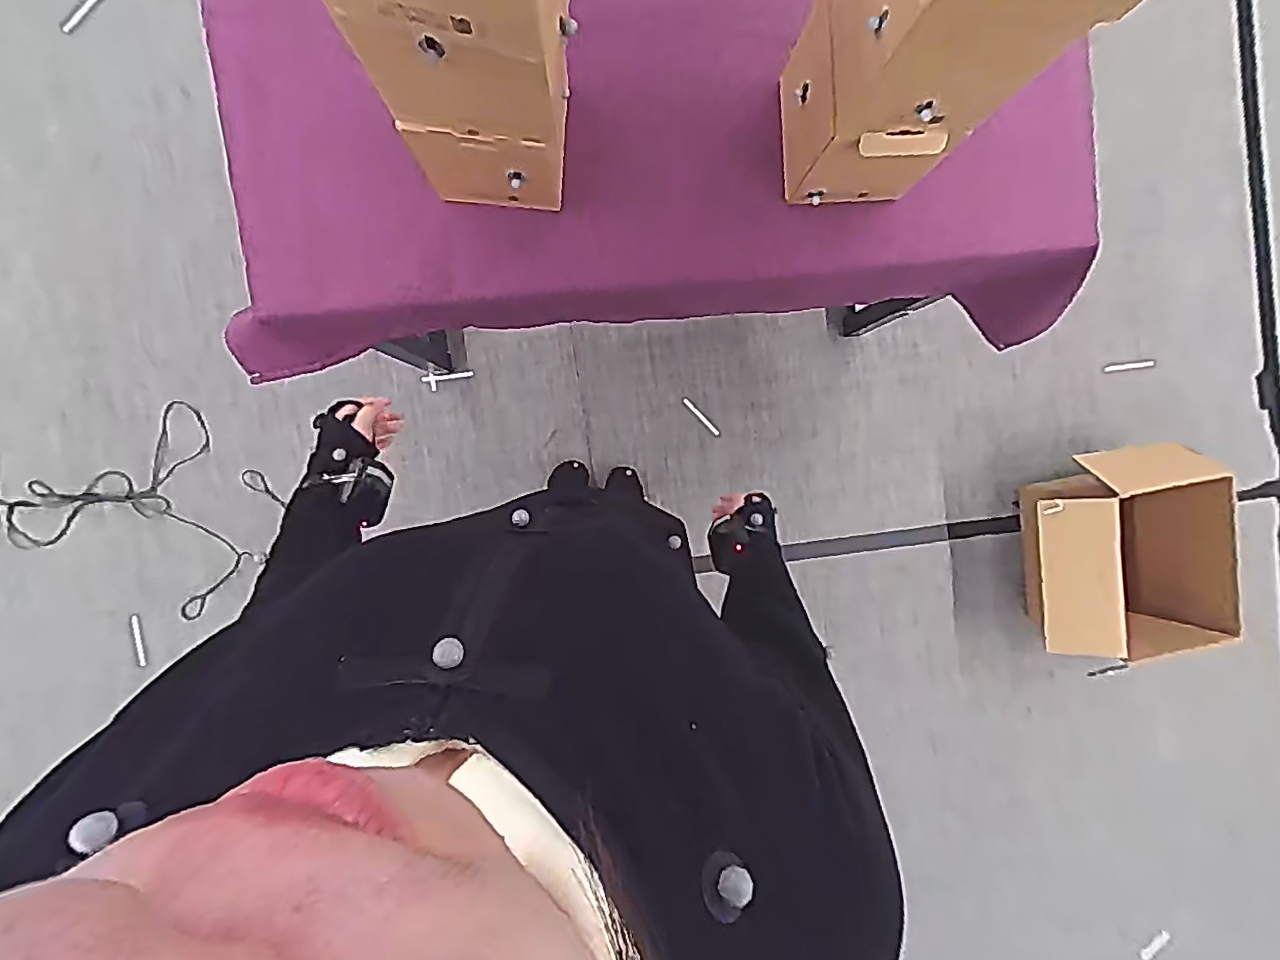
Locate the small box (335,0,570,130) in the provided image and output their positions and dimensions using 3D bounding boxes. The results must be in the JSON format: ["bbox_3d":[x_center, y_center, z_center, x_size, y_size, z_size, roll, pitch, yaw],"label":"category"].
[{"bbox_3d":[-0.162,-0.455,0.493,0.179,0.176,0.168,5,94,-5],"label":"small box"}]

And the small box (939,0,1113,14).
[{"bbox_3d":[0.311,-0.460,0.359,0.179,0.176,0.168,-1,94,-4],"label":"small box"}]

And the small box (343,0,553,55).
[{"bbox_3d":[-0.132,-0.424,0.333,0.168,0.176,0.179,10,92,-5],"label":"small box"}]

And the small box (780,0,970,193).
[{"bbox_3d":[0.284,-0.484,0.683,0.168,0.176,0.179,-4,93,-3],"label":"small box"}]

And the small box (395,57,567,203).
[{"bbox_3d":[-0.180,-0.463,0.656,0.168,0.176,0.179,4,93,-5],"label":"small box"}]
